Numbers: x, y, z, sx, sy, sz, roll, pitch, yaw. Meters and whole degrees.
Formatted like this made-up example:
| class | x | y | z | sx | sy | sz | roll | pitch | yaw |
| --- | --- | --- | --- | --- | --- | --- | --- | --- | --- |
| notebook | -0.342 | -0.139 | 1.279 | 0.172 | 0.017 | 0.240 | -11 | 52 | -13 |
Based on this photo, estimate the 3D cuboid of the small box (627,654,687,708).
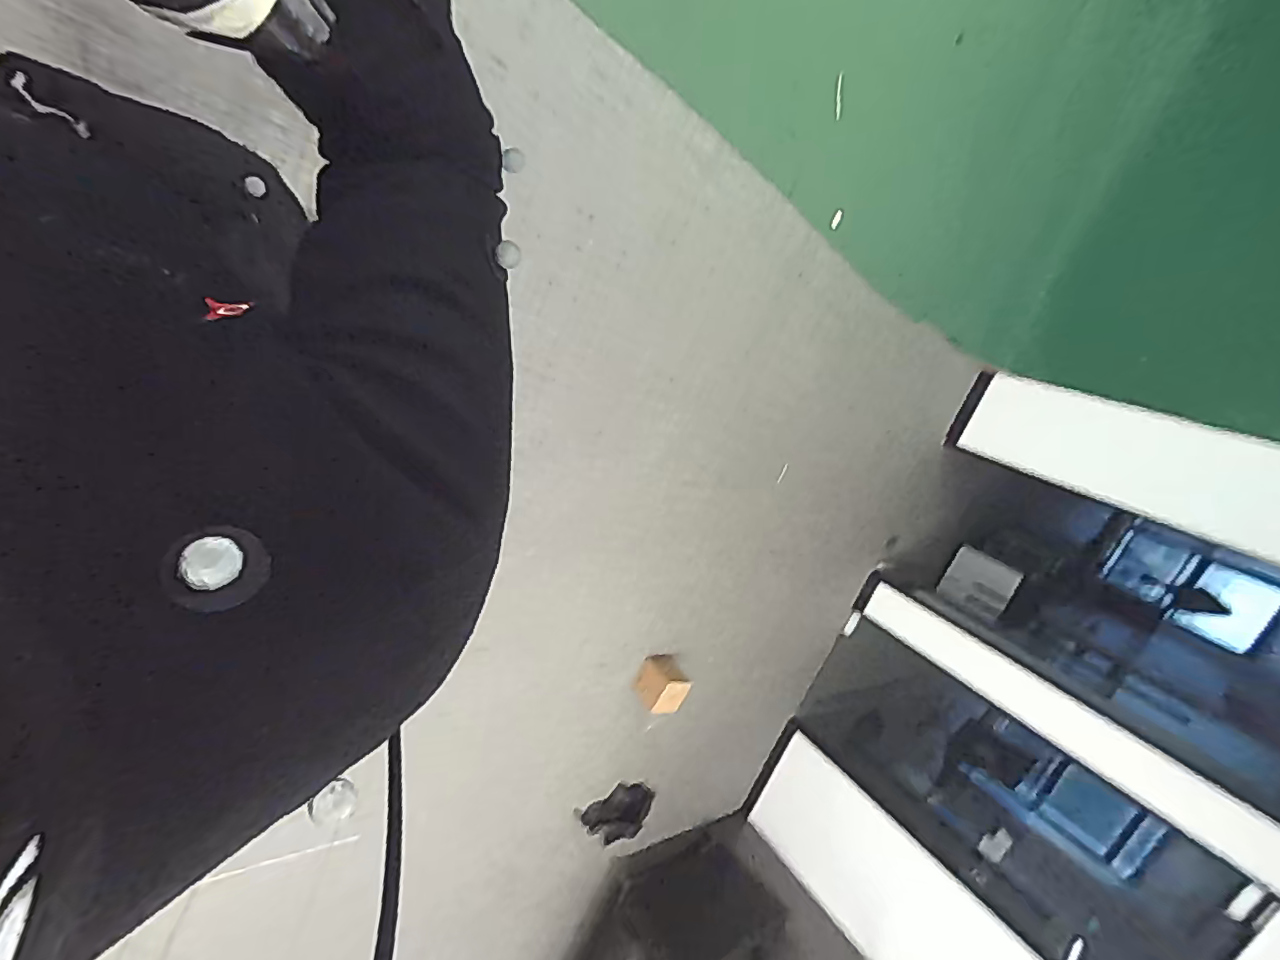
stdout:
| class | x | y | z | sx | sy | sz | roll | pitch | yaw |
| --- | --- | --- | --- | --- | --- | --- | --- | --- | --- |
| small box | 0.071 | 0.907 | 2.453 | 0.179 | 0.176 | 0.168 | 20 | 103 | -45 |
